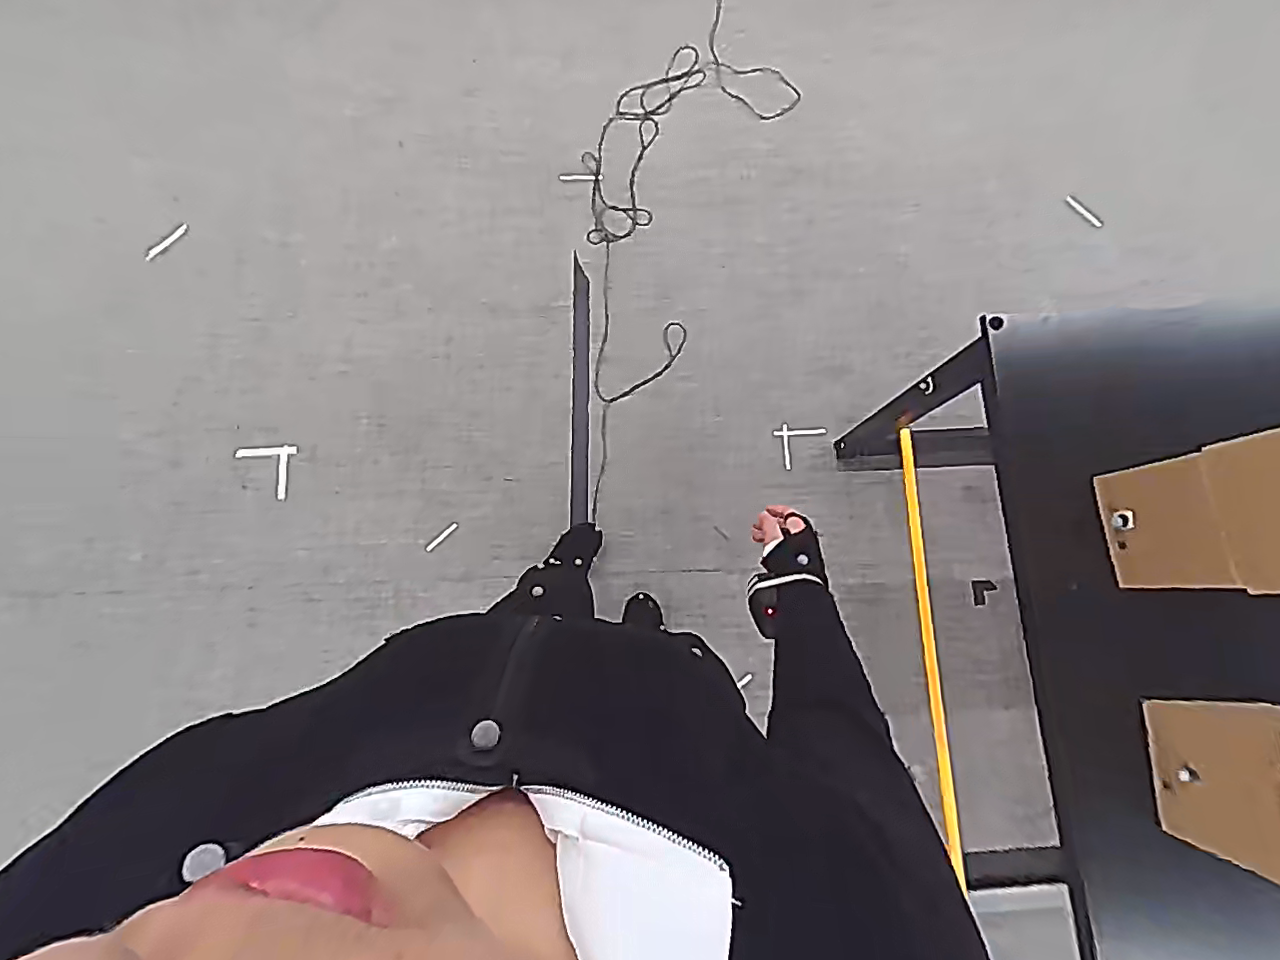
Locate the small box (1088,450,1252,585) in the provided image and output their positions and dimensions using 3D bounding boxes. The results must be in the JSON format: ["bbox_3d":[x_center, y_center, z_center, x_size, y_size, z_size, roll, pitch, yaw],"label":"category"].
[{"bbox_3d":[0.771,0.051,0.730,0.179,0.176,0.168,-6,78,-1],"label":"small box"}]

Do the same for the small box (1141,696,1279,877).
[{"bbox_3d":[0.786,0.369,0.666,0.179,0.176,0.168,2,79,0],"label":"small box"}]

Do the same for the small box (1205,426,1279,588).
[{"bbox_3d":[0.769,0.018,0.568,0.168,0.176,0.179,-6,79,-2],"label":"small box"}]
